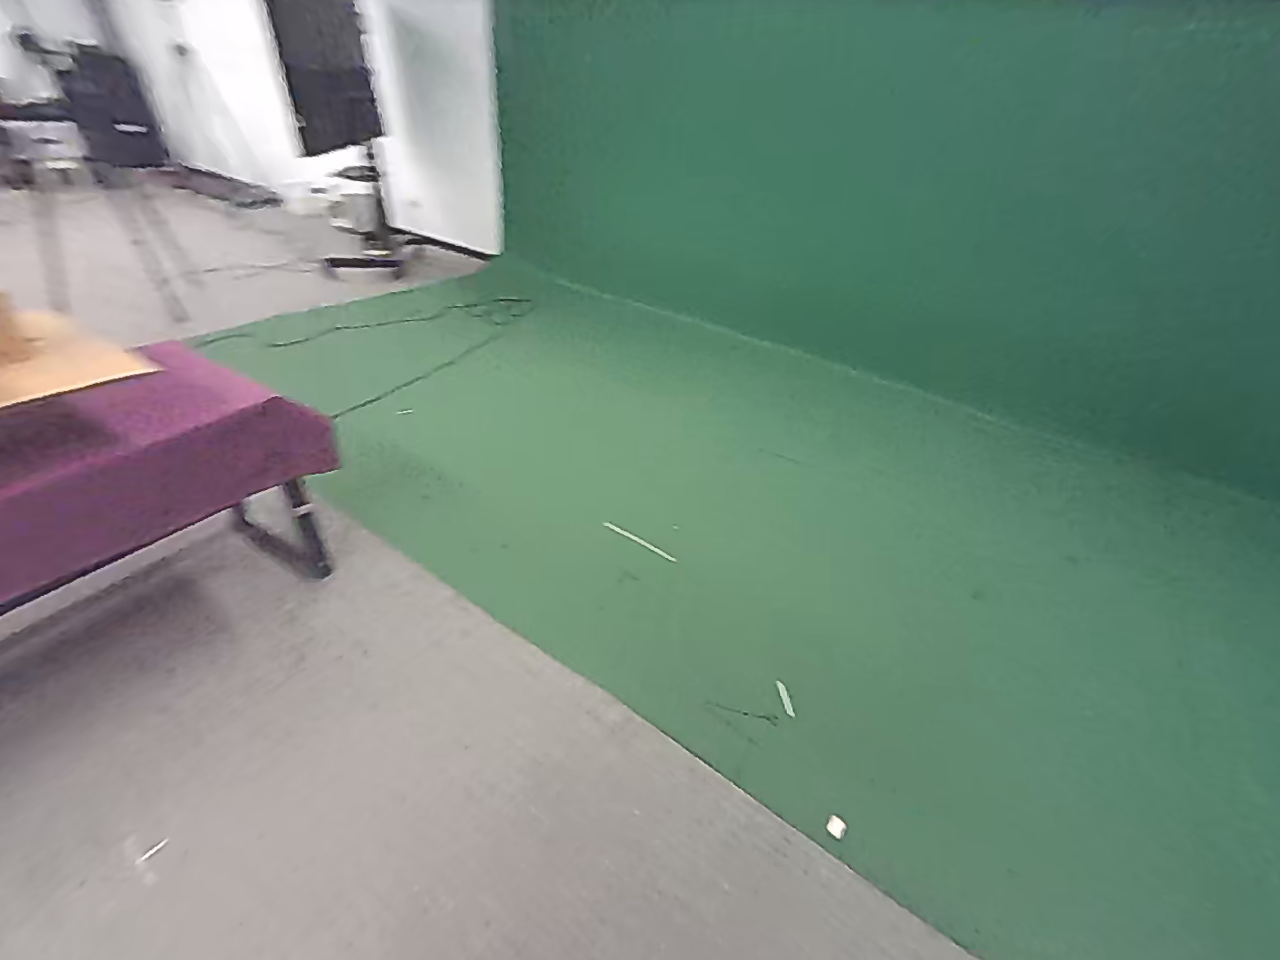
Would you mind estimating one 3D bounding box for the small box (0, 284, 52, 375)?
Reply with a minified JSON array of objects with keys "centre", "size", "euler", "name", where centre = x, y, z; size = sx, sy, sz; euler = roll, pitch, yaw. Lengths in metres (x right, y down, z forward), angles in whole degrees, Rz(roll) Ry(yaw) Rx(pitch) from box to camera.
[{"centre":[-1.541,-0.349,1.256],"size":[0.179,0.176,0.168],"euler":[25,38,23],"name":"small box"}]
